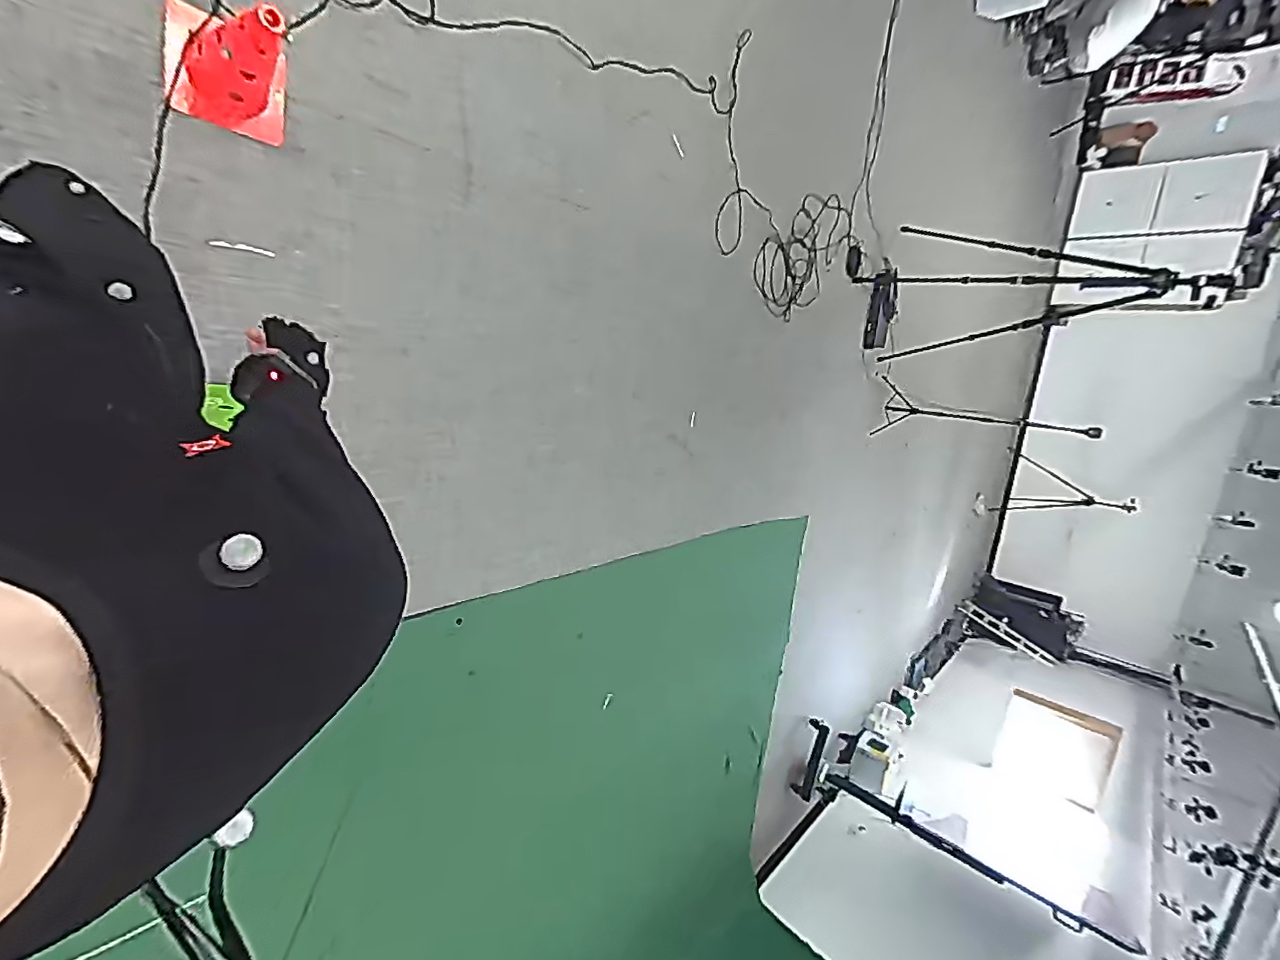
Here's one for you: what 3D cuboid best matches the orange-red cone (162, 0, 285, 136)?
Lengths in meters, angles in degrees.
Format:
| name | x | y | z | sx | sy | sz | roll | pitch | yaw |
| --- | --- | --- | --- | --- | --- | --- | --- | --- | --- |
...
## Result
| name | x | y | z | sx | sy | sz | roll | pitch | yaw |
| --- | --- | --- | --- | --- | --- | --- | --- | --- | --- |
| orange-red cone | -0.729 | -0.805 | 0.997 | 0.198 | 0.360 | 0.199 | 1 | 104 | -47 |
